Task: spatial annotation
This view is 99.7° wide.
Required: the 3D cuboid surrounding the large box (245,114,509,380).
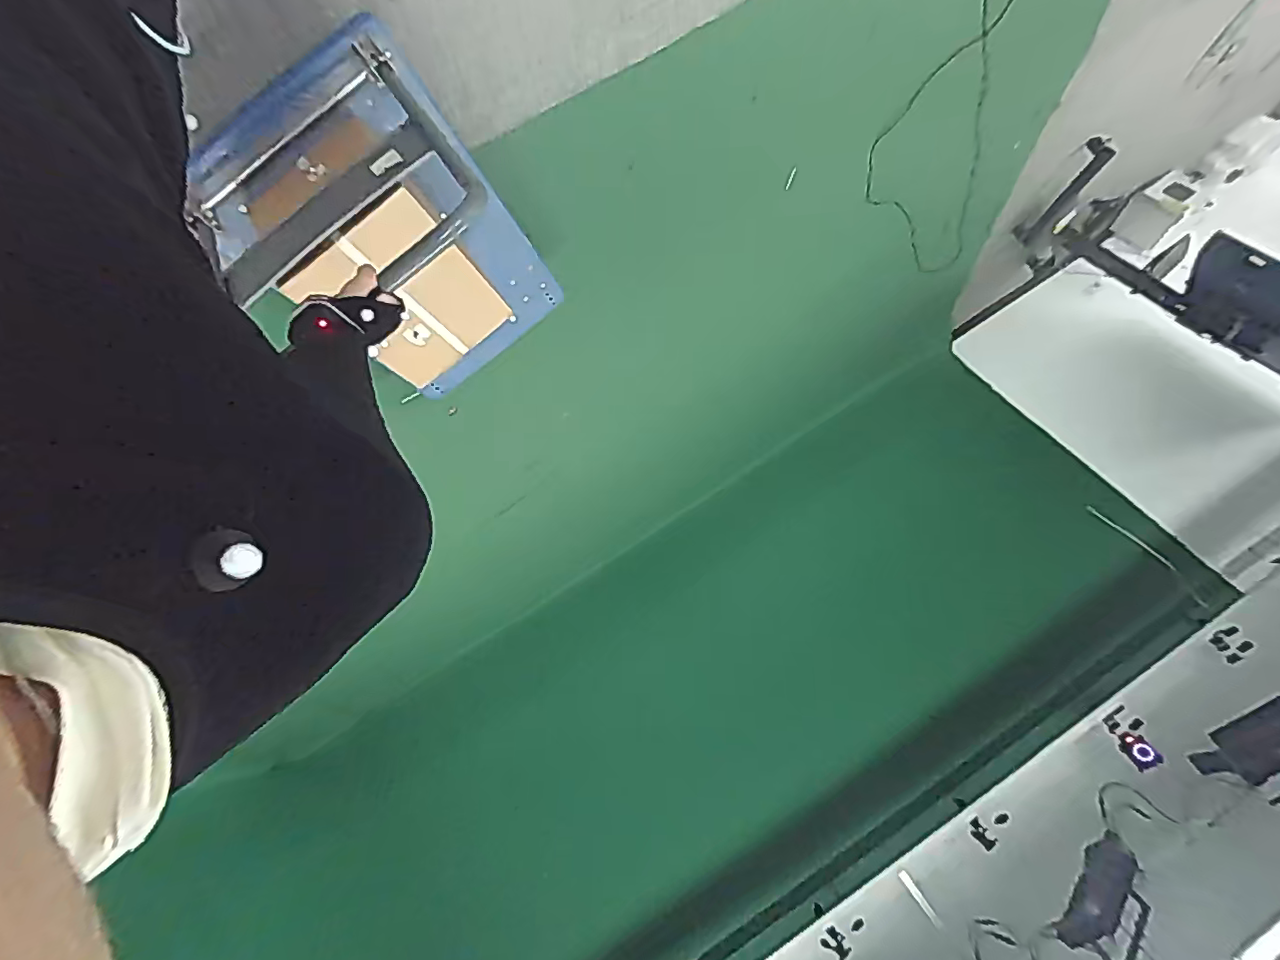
[{"bbox_3d":[-0.588,-0.514,1.251,0.320,0.320,0.408,-37,154,4],"label":"large box"}]
